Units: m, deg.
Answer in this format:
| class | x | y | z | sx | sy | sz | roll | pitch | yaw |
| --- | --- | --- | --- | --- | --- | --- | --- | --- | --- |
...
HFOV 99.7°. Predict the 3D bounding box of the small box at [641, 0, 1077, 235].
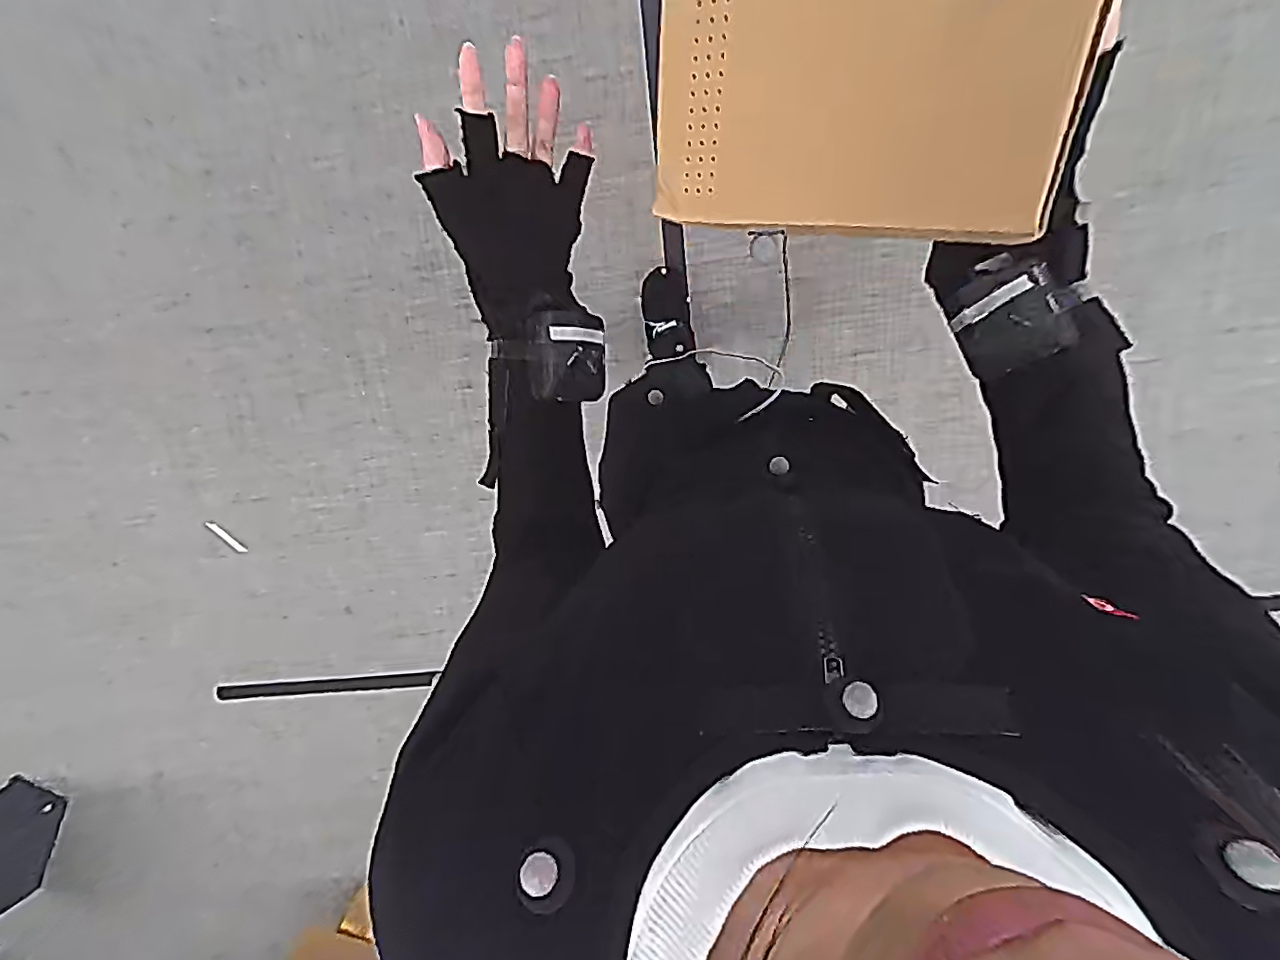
| class | x | y | z | sx | sy | sz | roll | pitch | yaw |
| --- | --- | --- | --- | --- | --- | --- | --- | --- | --- |
| small box | 0.111 | -0.223 | 0.273 | 0.176 | 0.168 | 0.179 | 16 | 117 | 27 |
